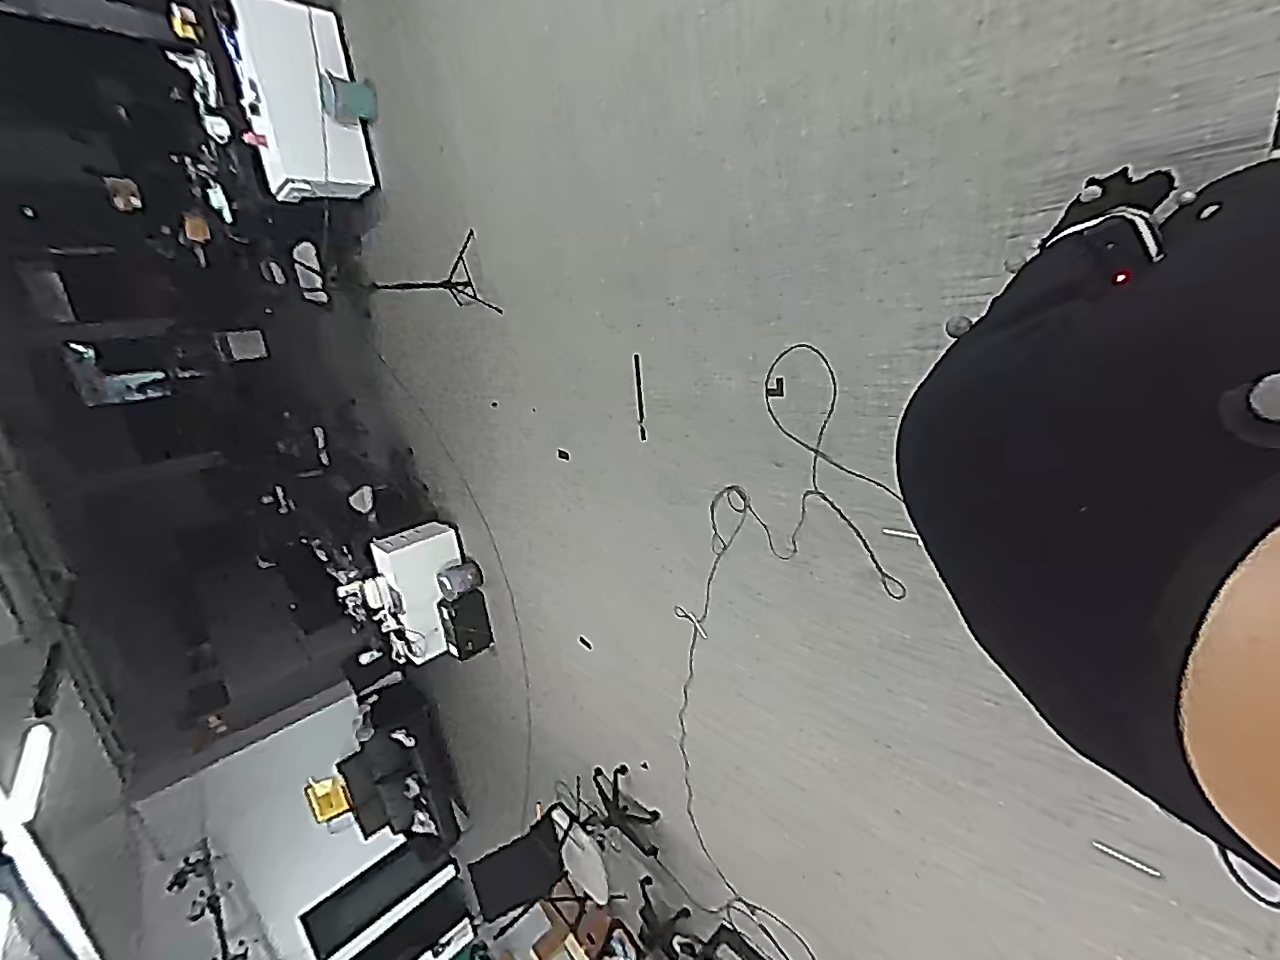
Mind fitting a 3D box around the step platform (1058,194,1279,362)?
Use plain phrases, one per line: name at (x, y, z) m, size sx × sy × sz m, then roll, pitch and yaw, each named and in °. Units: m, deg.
step platform at (1.196, -0.377, 0.990) m, size 0.684 × 0.204 × 0.286 m, roll 9°, pitch 113°, yaw 45°
